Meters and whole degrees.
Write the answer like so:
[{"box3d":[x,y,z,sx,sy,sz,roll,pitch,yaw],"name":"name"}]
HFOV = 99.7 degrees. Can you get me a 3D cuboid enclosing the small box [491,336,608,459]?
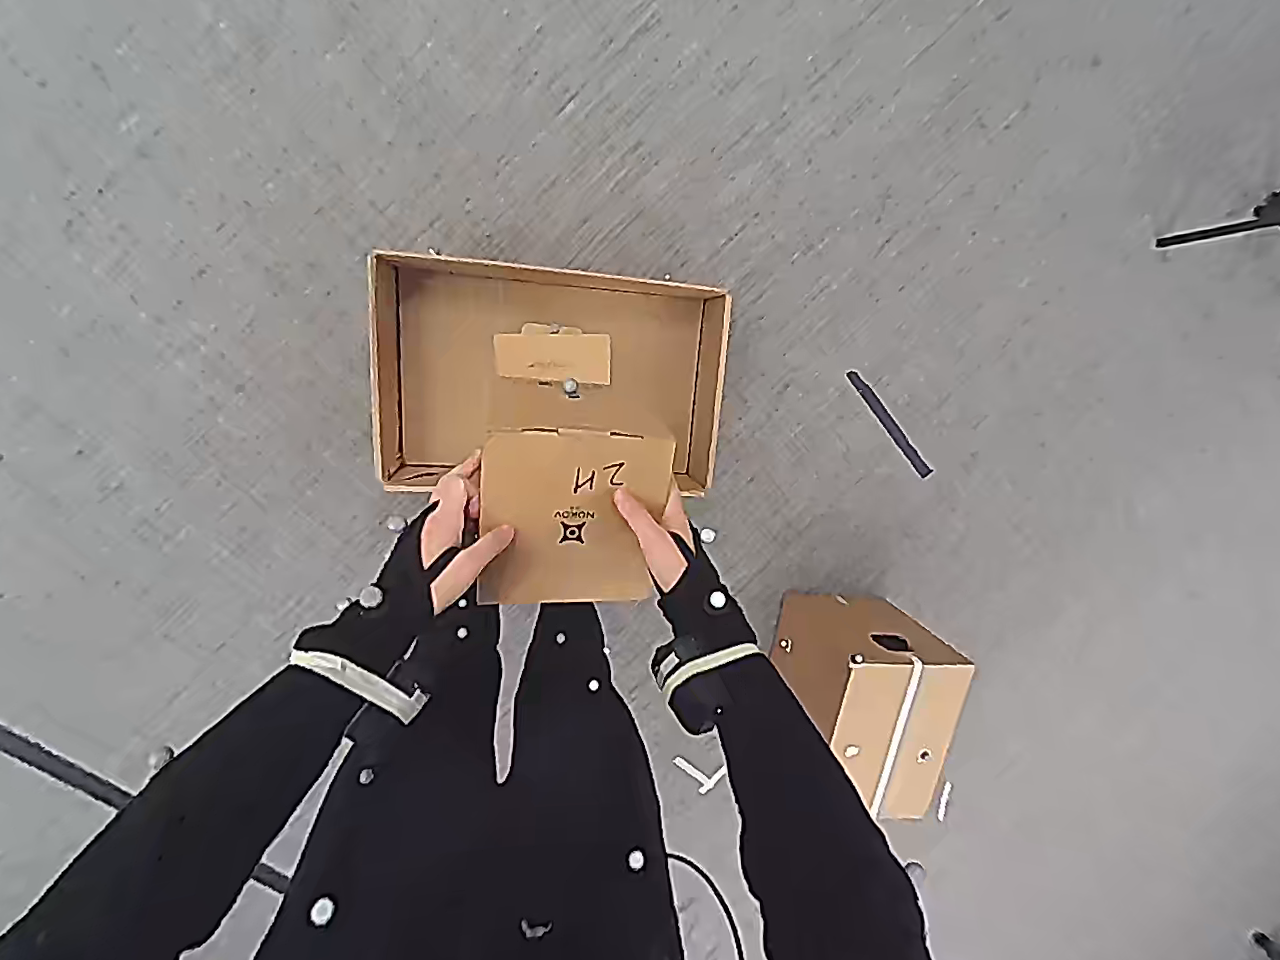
[{"box3d":[-0.144,-0.137,0.859,0.168,0.176,0.179,-4,105,-13],"name":"small box"}]
